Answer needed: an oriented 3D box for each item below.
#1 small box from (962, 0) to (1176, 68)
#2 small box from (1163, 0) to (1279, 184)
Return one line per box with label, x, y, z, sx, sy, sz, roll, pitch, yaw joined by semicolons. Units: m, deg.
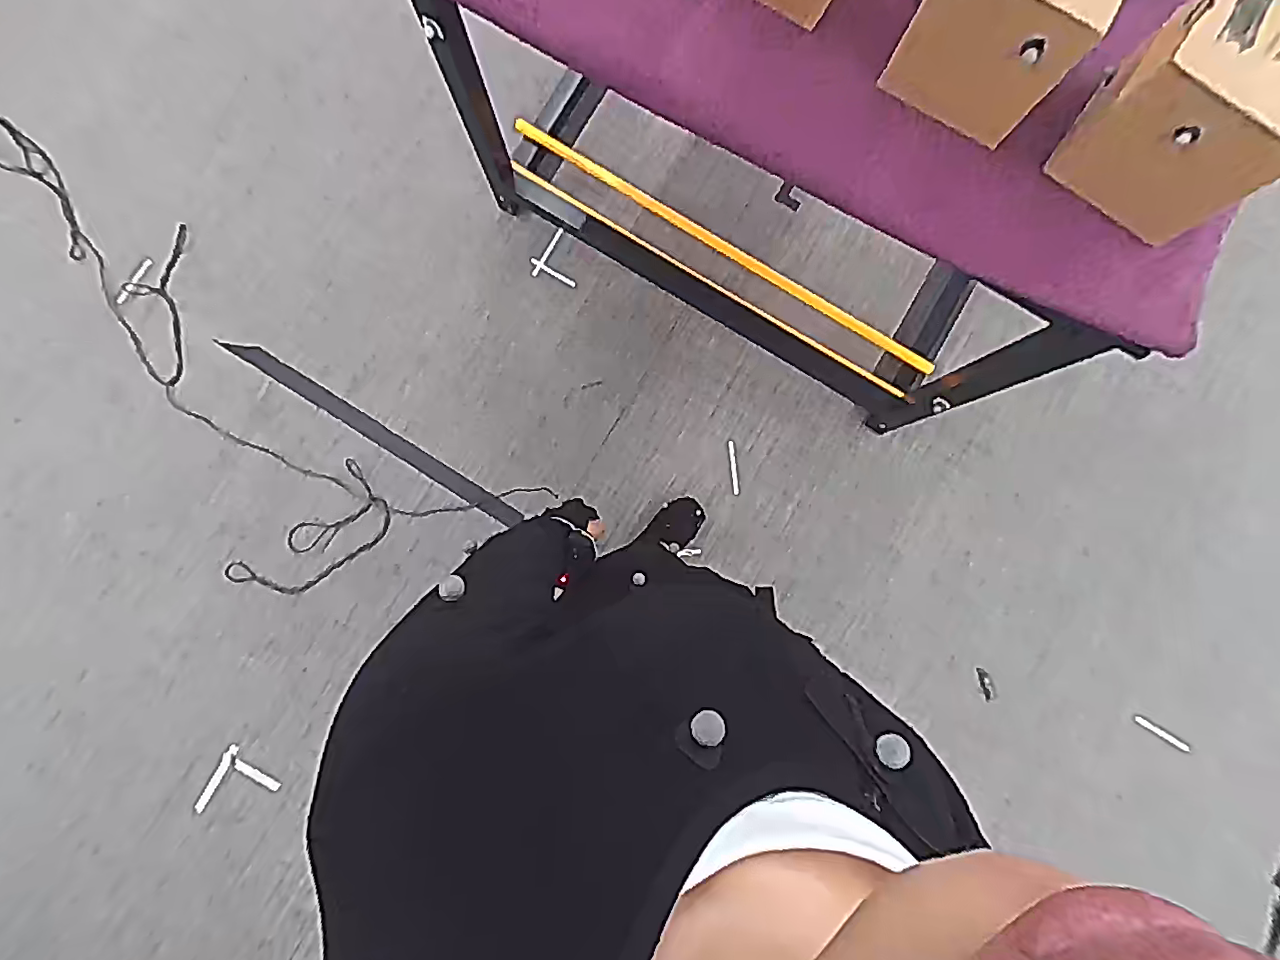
small box;0.462;-0.550;0.515;0.179;0.176;0.168;31;91;2
small box;0.673;-0.424;0.507;0.179;0.176;0.168;37;92;1
